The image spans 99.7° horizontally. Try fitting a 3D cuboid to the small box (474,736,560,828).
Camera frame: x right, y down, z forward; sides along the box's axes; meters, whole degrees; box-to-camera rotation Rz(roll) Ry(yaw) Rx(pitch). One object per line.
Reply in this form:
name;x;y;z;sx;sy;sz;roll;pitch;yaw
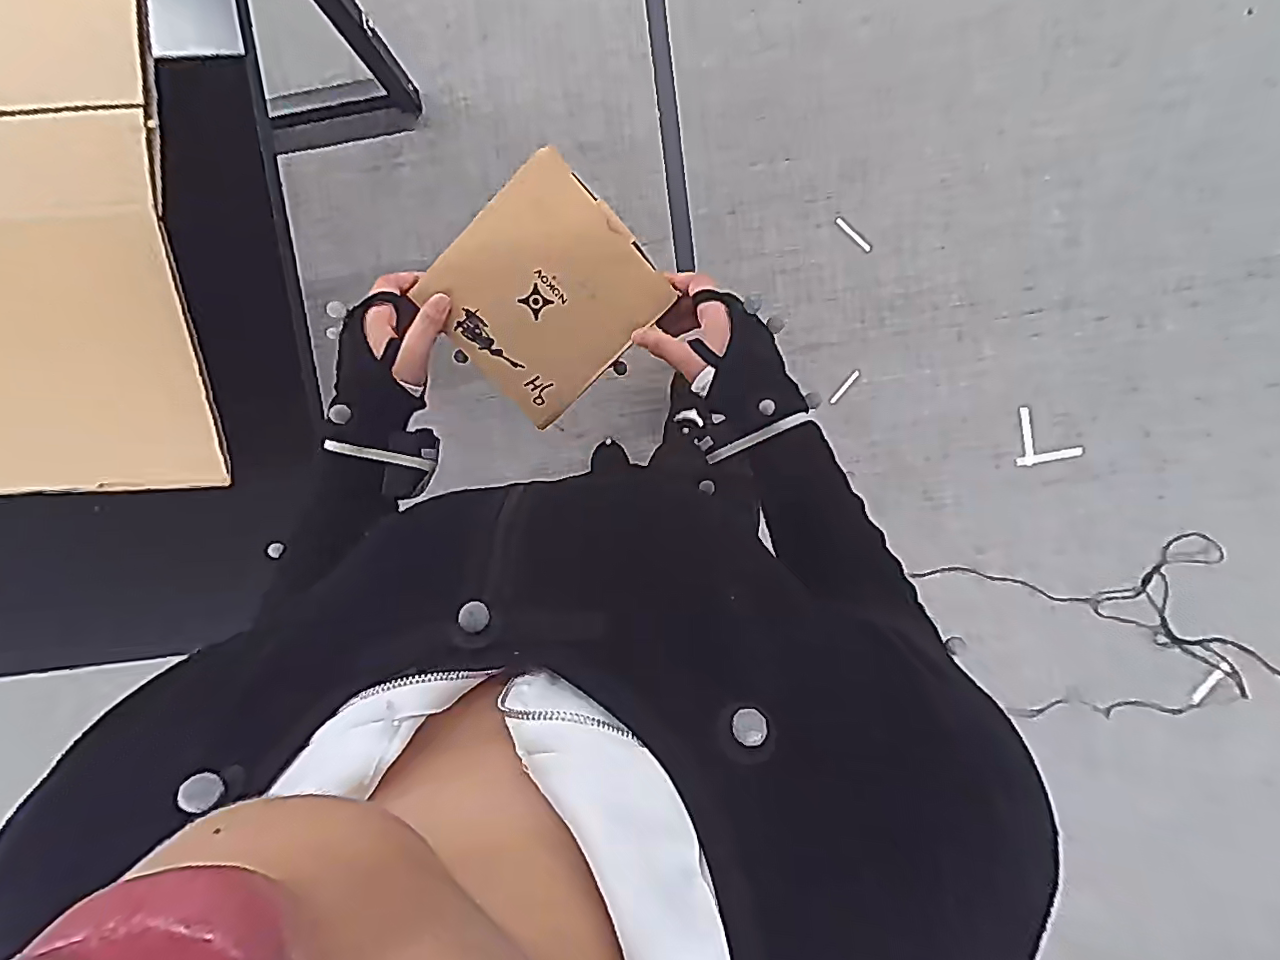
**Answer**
small box;-0.333;0.838;1.491;0.179;0.176;0.168;-11;95;2
